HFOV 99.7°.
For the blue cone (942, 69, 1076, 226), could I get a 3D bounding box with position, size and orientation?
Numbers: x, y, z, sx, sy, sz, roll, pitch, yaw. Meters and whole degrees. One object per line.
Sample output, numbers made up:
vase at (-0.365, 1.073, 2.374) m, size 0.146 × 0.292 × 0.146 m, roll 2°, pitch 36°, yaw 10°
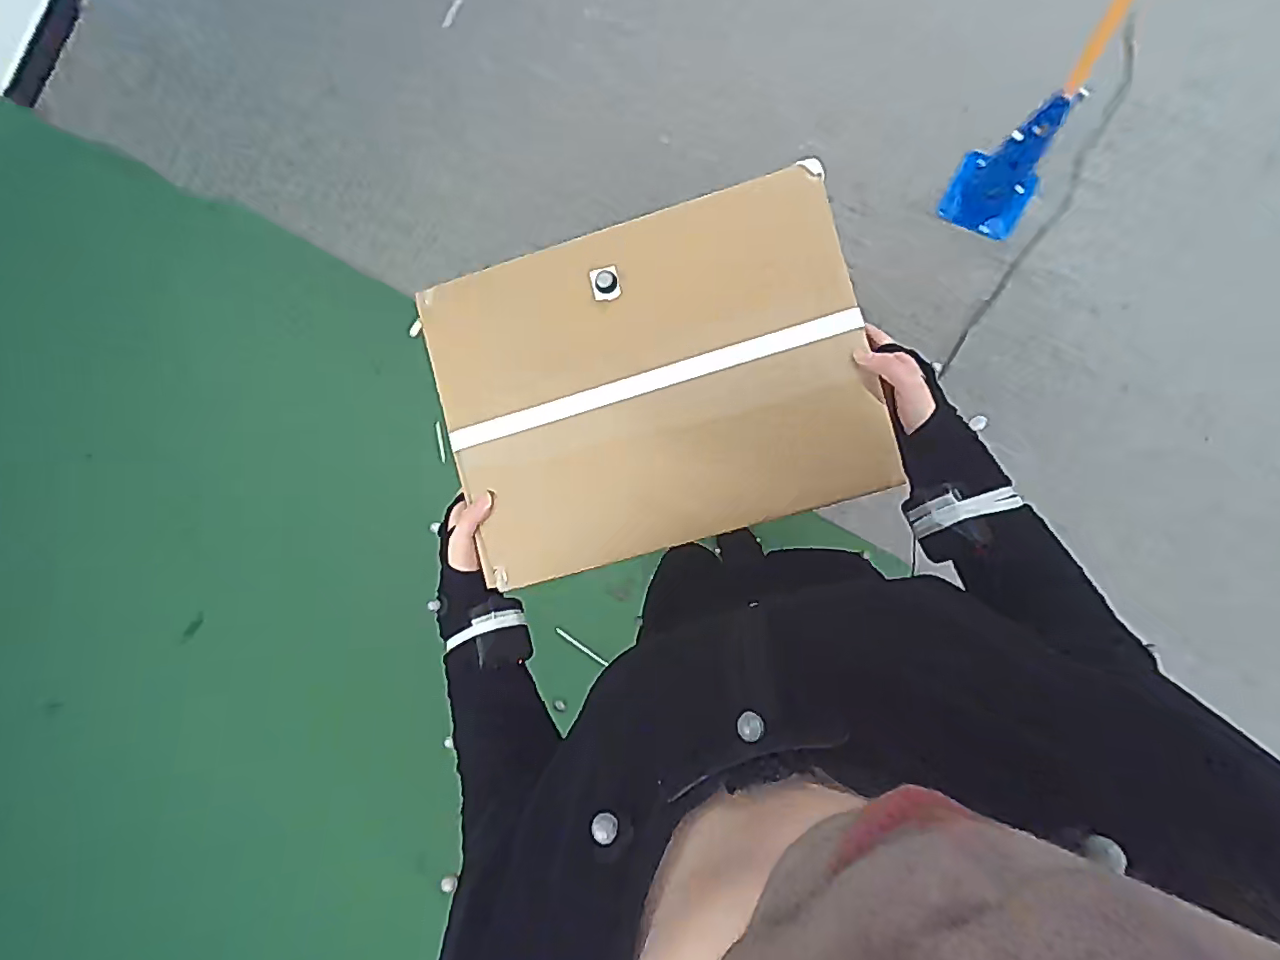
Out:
blue cone at (0.889, -0.787, 1.268) m, size 0.193 × 0.380 × 0.192 m, roll 26°, pitch 90°, yaw 12°
